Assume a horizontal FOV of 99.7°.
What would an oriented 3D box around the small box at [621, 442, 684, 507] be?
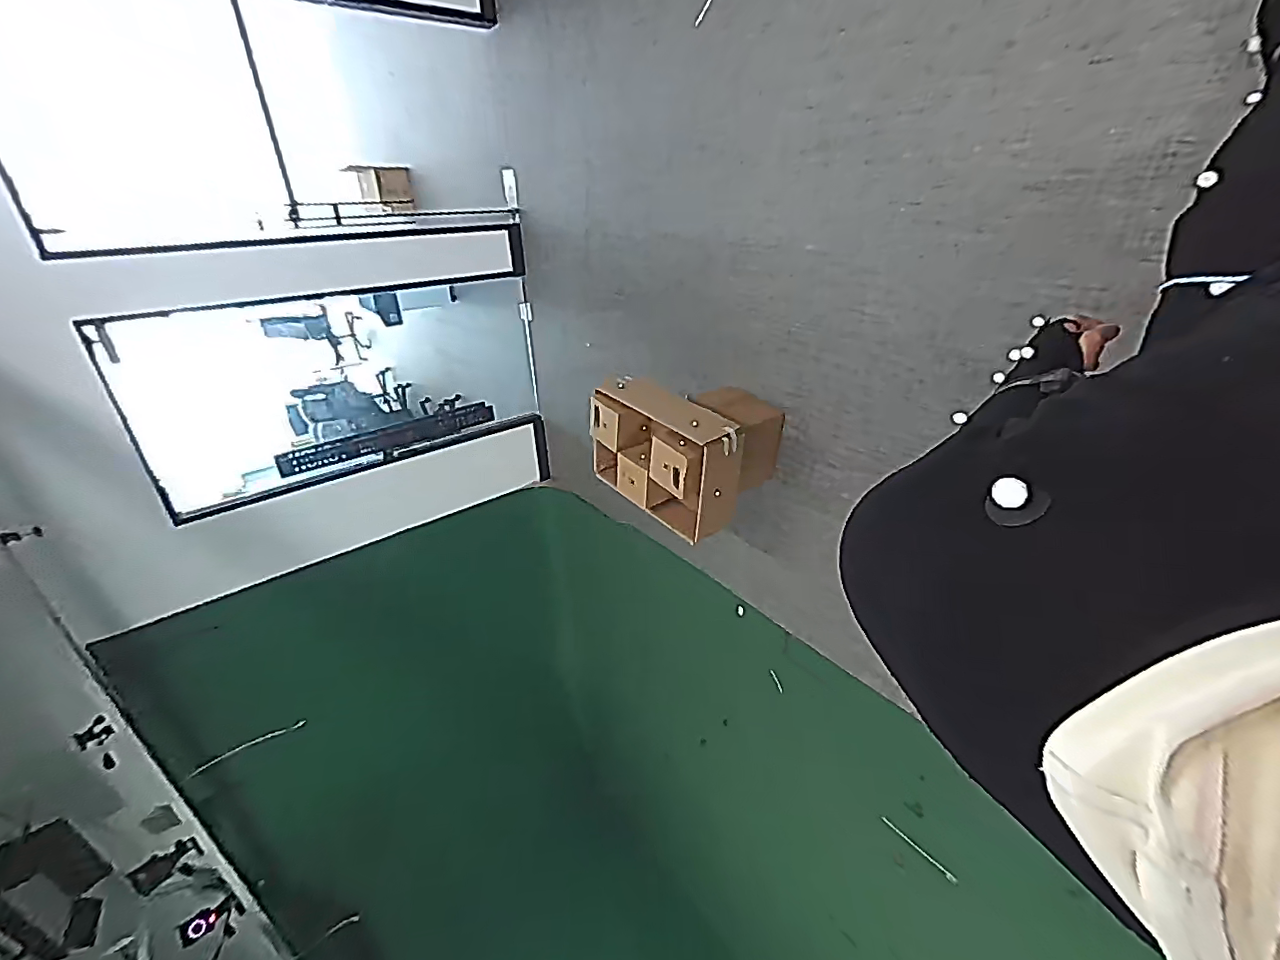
[{"bbox_3d":[0.047,-0.028,2.029,0.179,0.176,0.168,34,133,40],"label":"small box"}]
